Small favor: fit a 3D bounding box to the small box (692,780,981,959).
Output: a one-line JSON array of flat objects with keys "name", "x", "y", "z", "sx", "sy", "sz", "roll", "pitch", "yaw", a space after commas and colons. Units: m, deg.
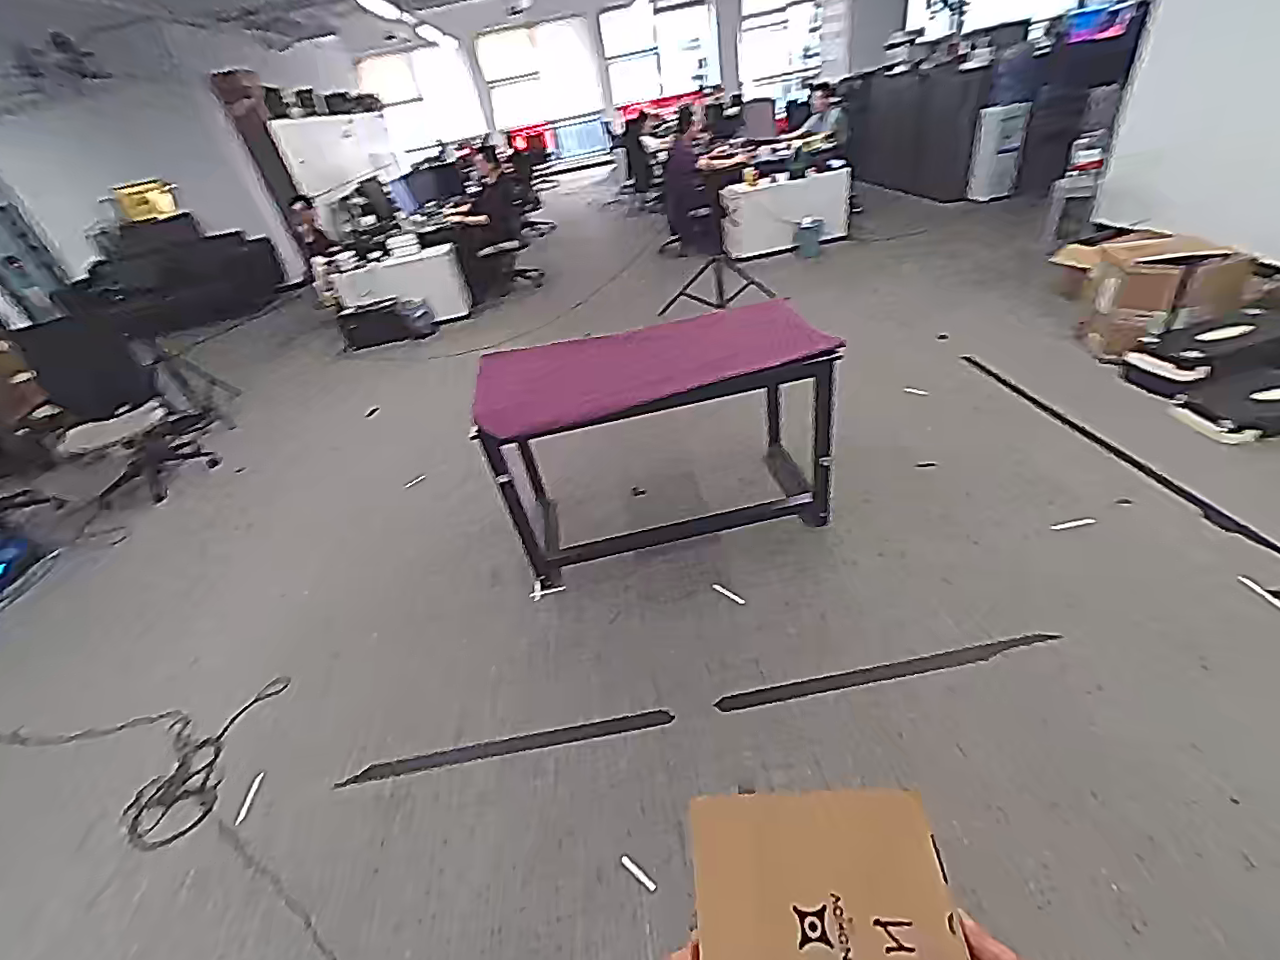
[{"name": "small box", "x": 0.141, "y": 0.345, "z": 0.419, "sx": 0.179, "sy": 0.176, "sz": 0.168, "roll": -7, "pitch": 50, "yaw": 6}]
